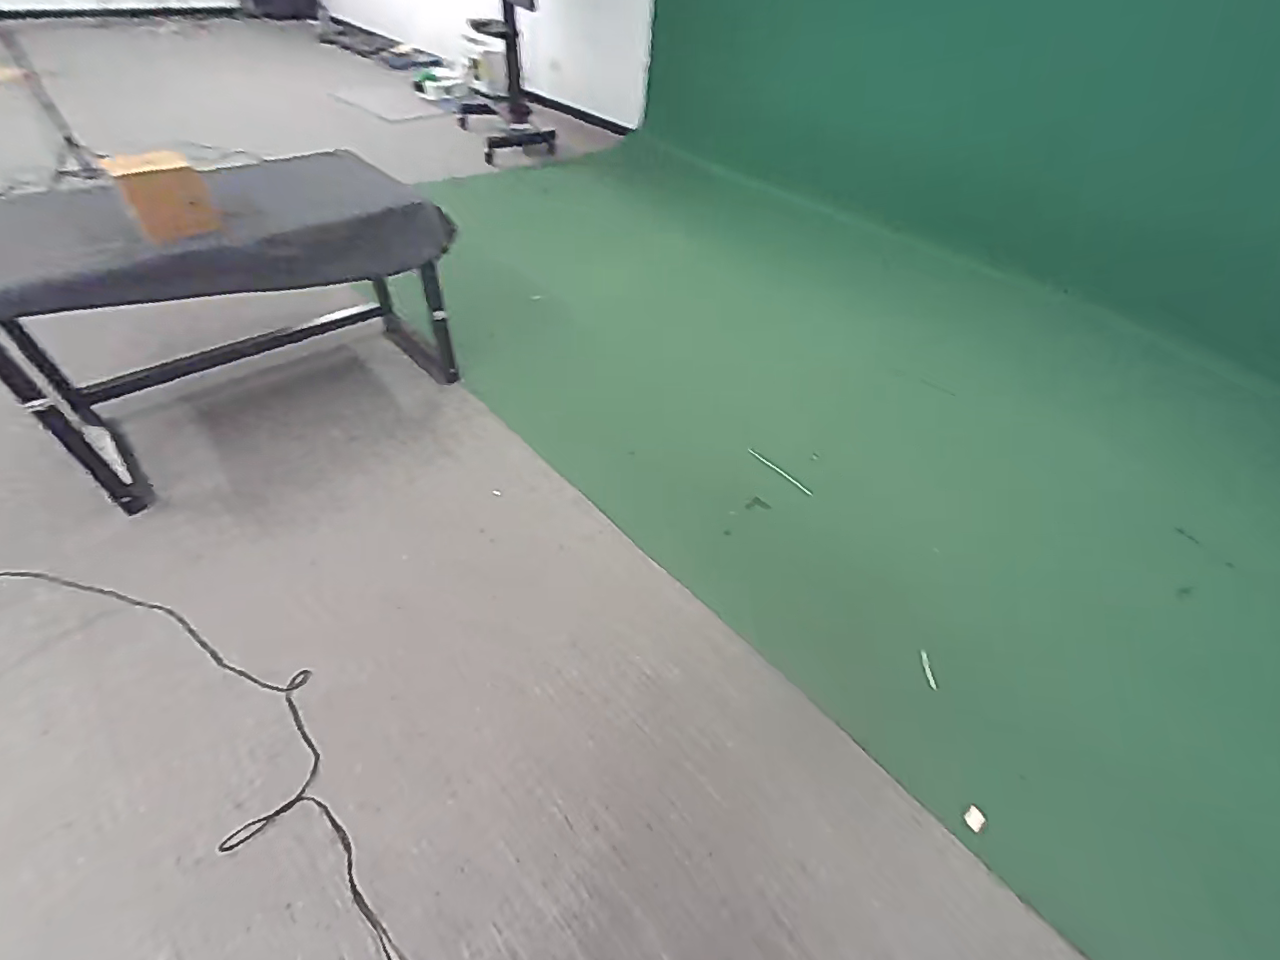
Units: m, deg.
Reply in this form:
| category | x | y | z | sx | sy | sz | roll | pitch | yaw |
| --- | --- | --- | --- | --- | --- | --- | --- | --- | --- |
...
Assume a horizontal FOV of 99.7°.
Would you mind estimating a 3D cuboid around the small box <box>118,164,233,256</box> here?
| category | x | y | z | sx | sy | sz | roll | pitch | yaw |
| --- | --- | --- | --- | --- | --- | --- | --- | --- | --- |
| small box | -1.264 | -0.742 | 1.487 | 0.179 | 0.176 | 0.168 | -34 | 55 | -30 |
